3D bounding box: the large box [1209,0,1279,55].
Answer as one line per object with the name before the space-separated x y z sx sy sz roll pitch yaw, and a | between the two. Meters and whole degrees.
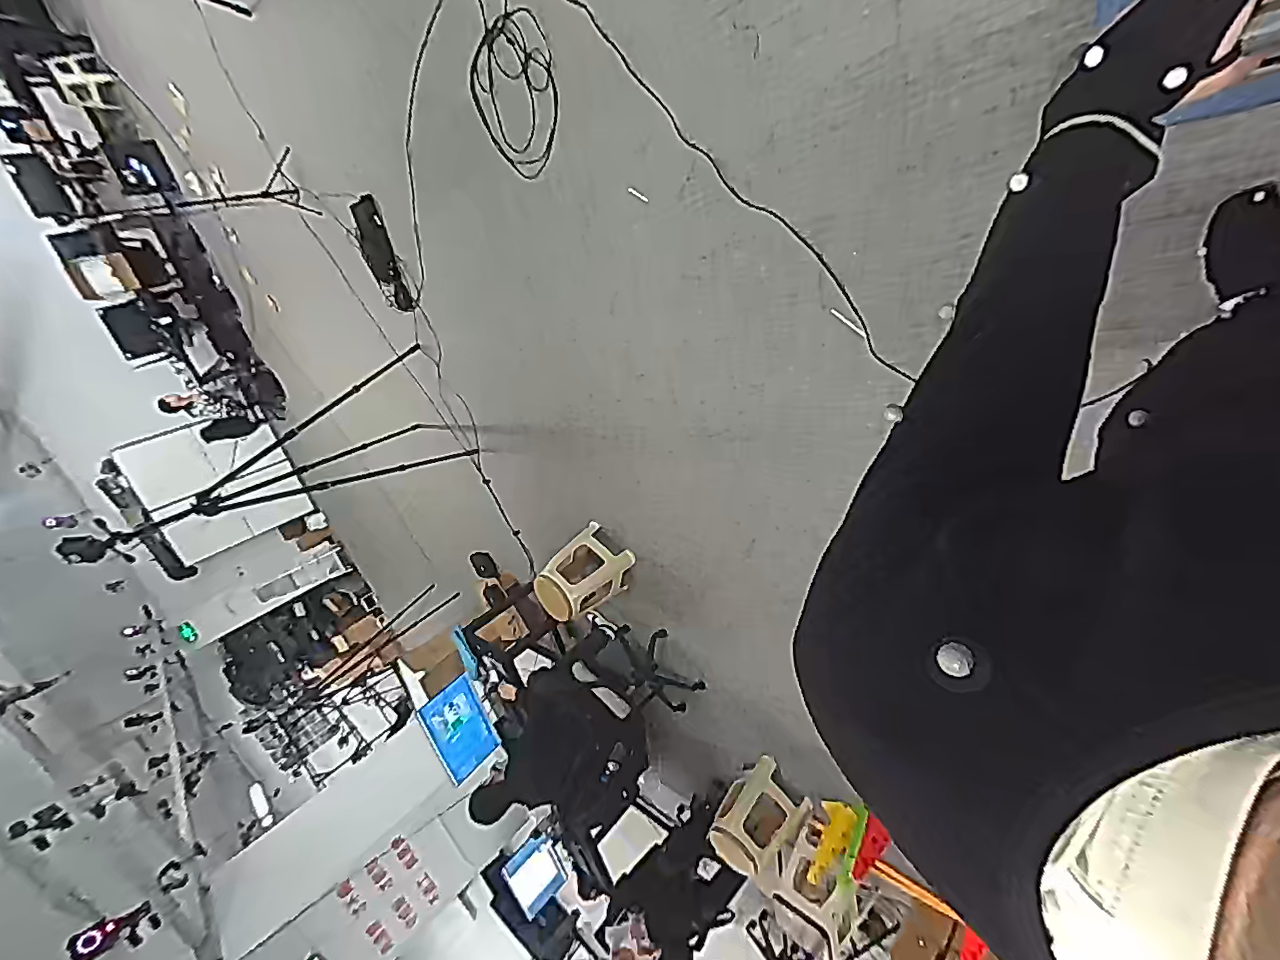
large box | 0.869 -0.769 0.584 0.320 0.320 0.408 9 120 43
